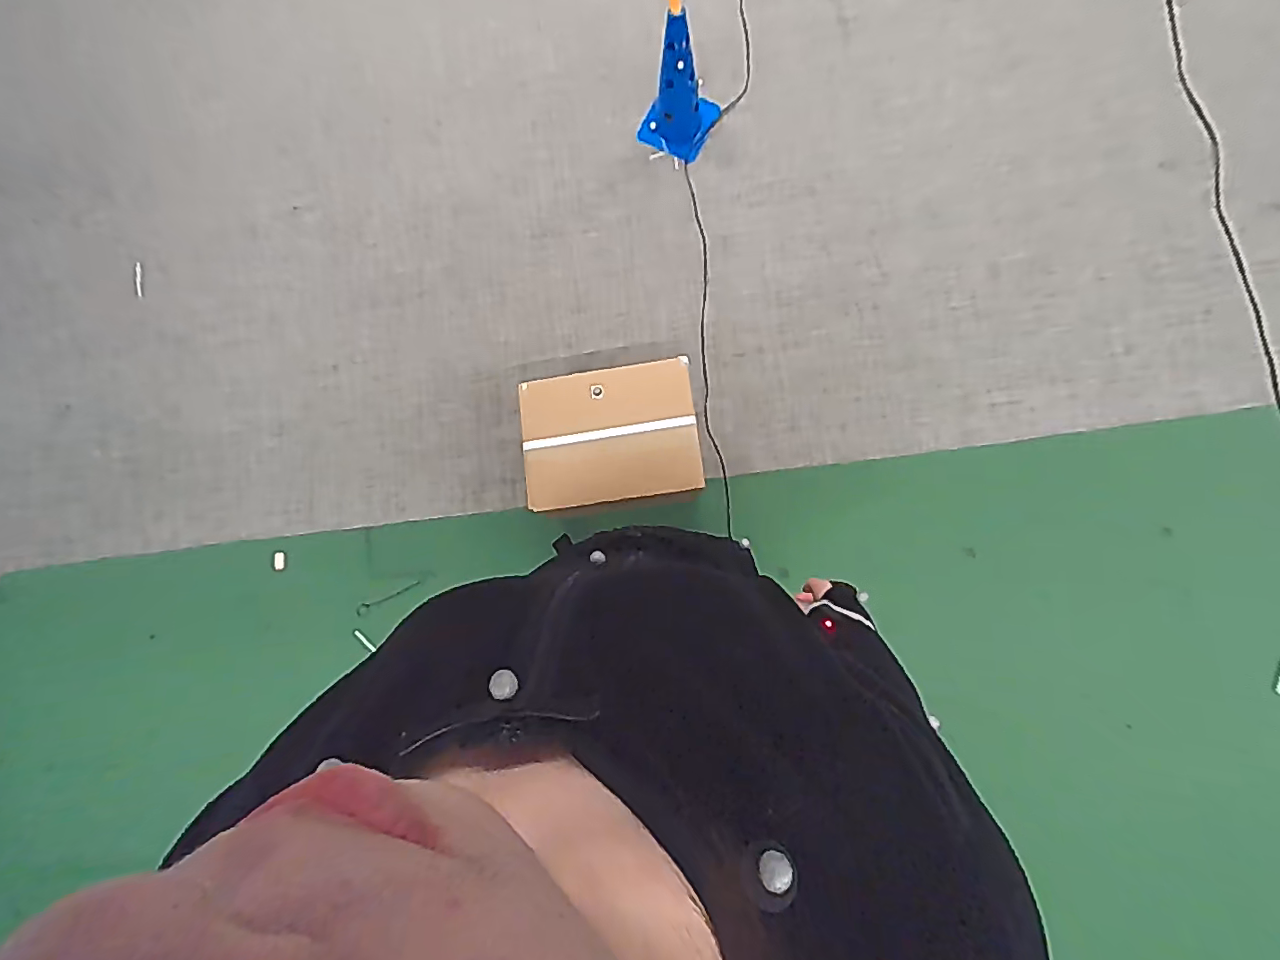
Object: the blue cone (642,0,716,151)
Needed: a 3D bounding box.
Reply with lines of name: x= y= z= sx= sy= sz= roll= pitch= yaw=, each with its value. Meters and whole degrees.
blue cone: x=0.101 y=-1.092 z=1.440 sx=0.192 sy=0.380 sz=0.193 roll=25 pitch=88 yaw=7
